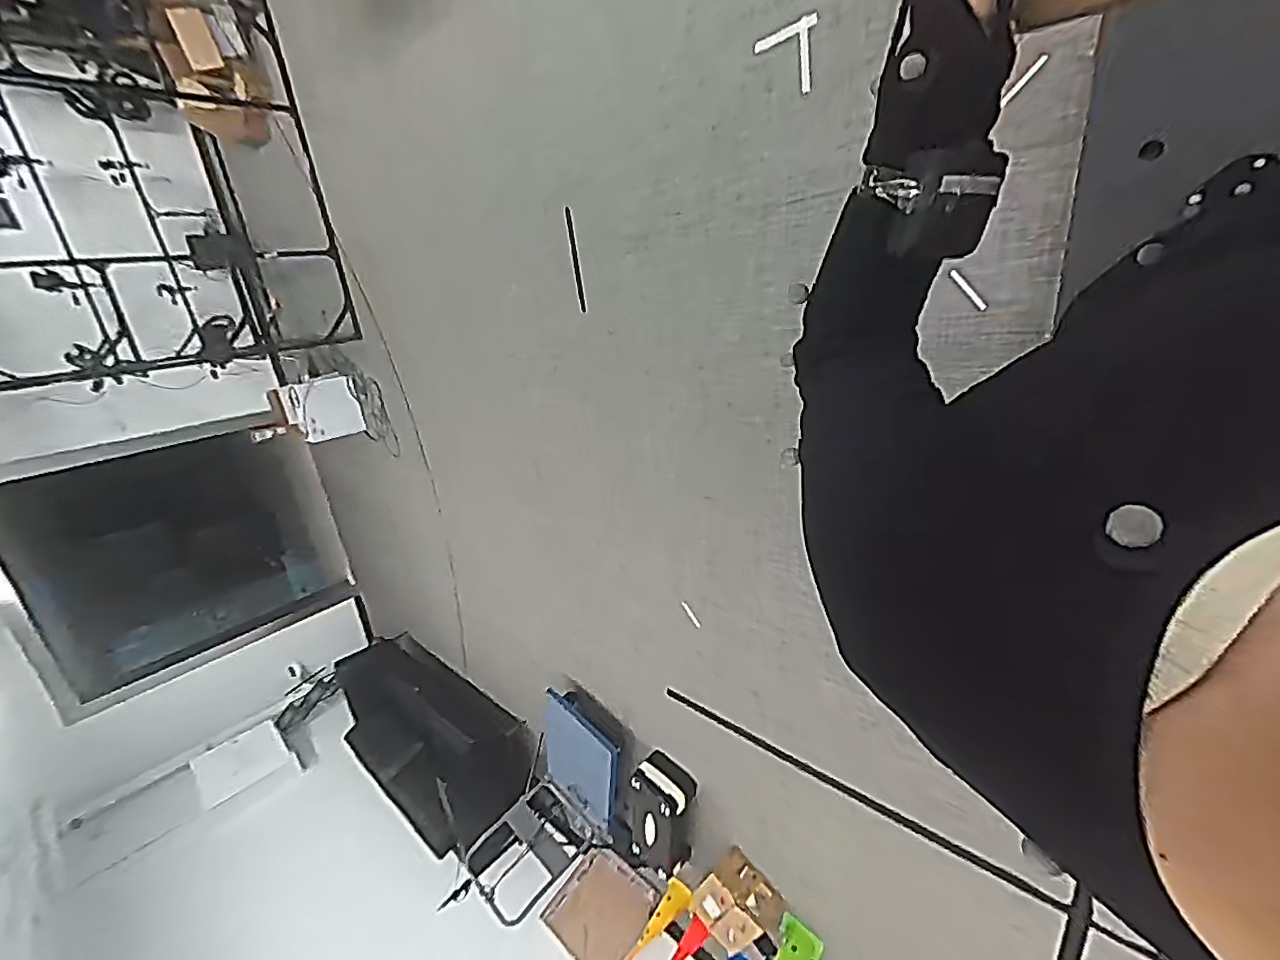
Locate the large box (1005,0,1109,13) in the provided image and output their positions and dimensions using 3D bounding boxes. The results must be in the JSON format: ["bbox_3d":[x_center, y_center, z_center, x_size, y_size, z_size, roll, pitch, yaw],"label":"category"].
[{"bbox_3d":[0.405,-0.435,0.186,0.408,0.320,0.320,14,133,42],"label":"large box"}]
